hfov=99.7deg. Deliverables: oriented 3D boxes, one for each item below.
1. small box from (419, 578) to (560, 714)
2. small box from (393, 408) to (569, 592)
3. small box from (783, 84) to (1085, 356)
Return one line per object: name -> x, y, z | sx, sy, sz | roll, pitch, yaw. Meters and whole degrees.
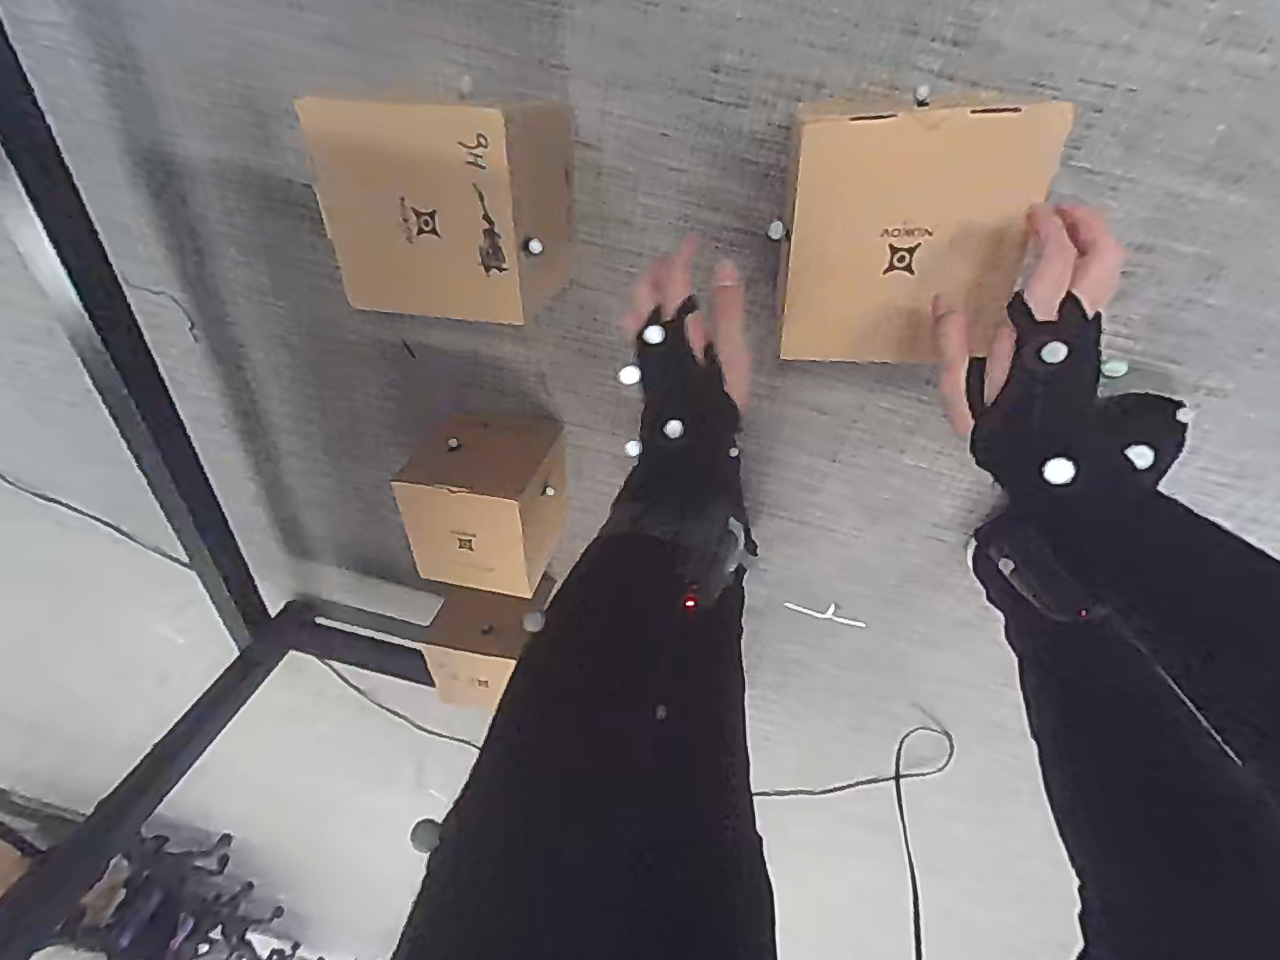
small box -> -0.244, 0.269, 0.931 | 0.179, 0.176, 0.168 | 8, 127, 9
small box -> -0.201, 0.020, 0.739 | 0.168, 0.176, 0.179 | 10, 128, 8
small box -> 0.215, -0.223, 0.458 | 0.168, 0.176, 0.179 | 5, 126, 11
